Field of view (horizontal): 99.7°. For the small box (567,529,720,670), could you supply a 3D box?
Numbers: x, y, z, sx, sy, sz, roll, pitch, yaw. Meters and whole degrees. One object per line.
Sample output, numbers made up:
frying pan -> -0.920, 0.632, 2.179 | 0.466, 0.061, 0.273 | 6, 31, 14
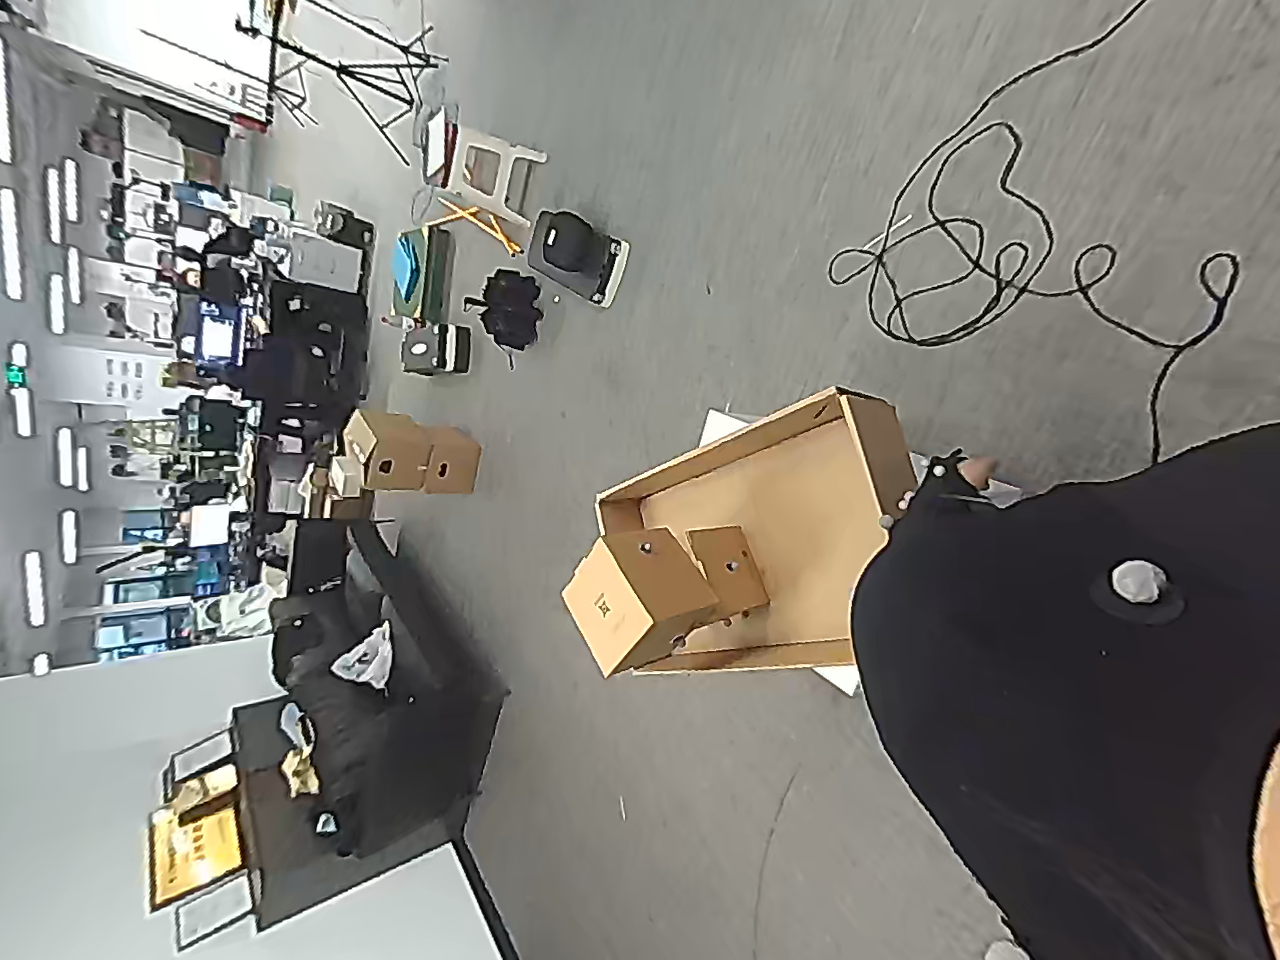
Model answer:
small box -> 0.006, 0.201, 0.960 | 0.179, 0.176, 0.168 | 54, 127, 29
